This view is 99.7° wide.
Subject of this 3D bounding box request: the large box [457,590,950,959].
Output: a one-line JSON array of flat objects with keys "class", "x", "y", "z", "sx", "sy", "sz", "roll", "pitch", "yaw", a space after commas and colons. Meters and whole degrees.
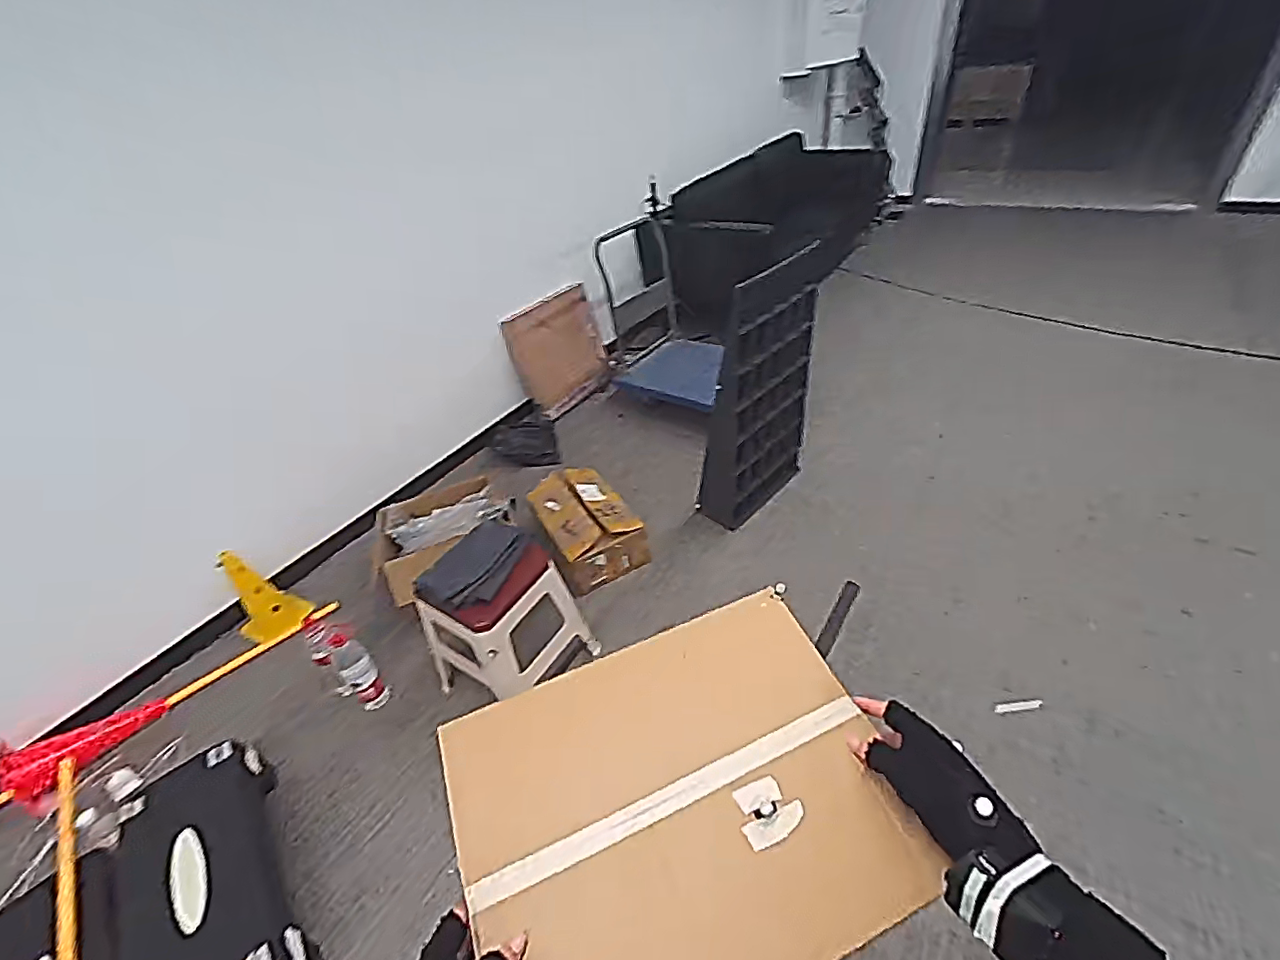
[{"class": "large box", "x": 0.047, "y": 0.401, "z": 0.641, "sx": 0.408, "sy": 0.320, "sz": 0.320, "roll": -18, "pitch": 50, "yaw": -14}]
